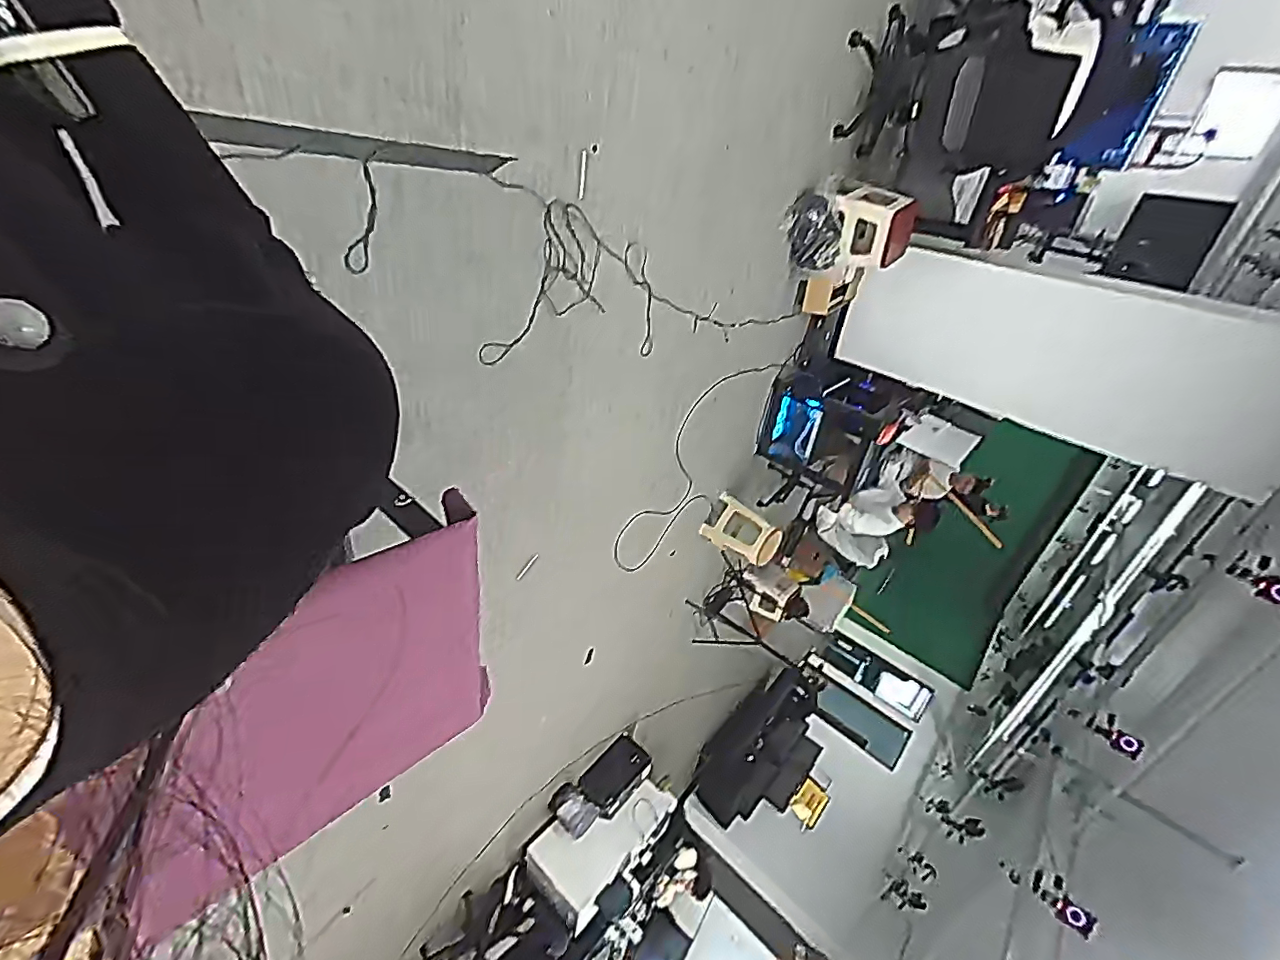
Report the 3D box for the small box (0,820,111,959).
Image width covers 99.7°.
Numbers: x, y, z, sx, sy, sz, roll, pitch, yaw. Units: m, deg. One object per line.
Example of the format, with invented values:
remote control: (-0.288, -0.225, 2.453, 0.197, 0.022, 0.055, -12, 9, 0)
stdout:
small box: (-0.797, 0.567, 0.654, 0.179, 0.176, 0.168, -22, 132, -44)
